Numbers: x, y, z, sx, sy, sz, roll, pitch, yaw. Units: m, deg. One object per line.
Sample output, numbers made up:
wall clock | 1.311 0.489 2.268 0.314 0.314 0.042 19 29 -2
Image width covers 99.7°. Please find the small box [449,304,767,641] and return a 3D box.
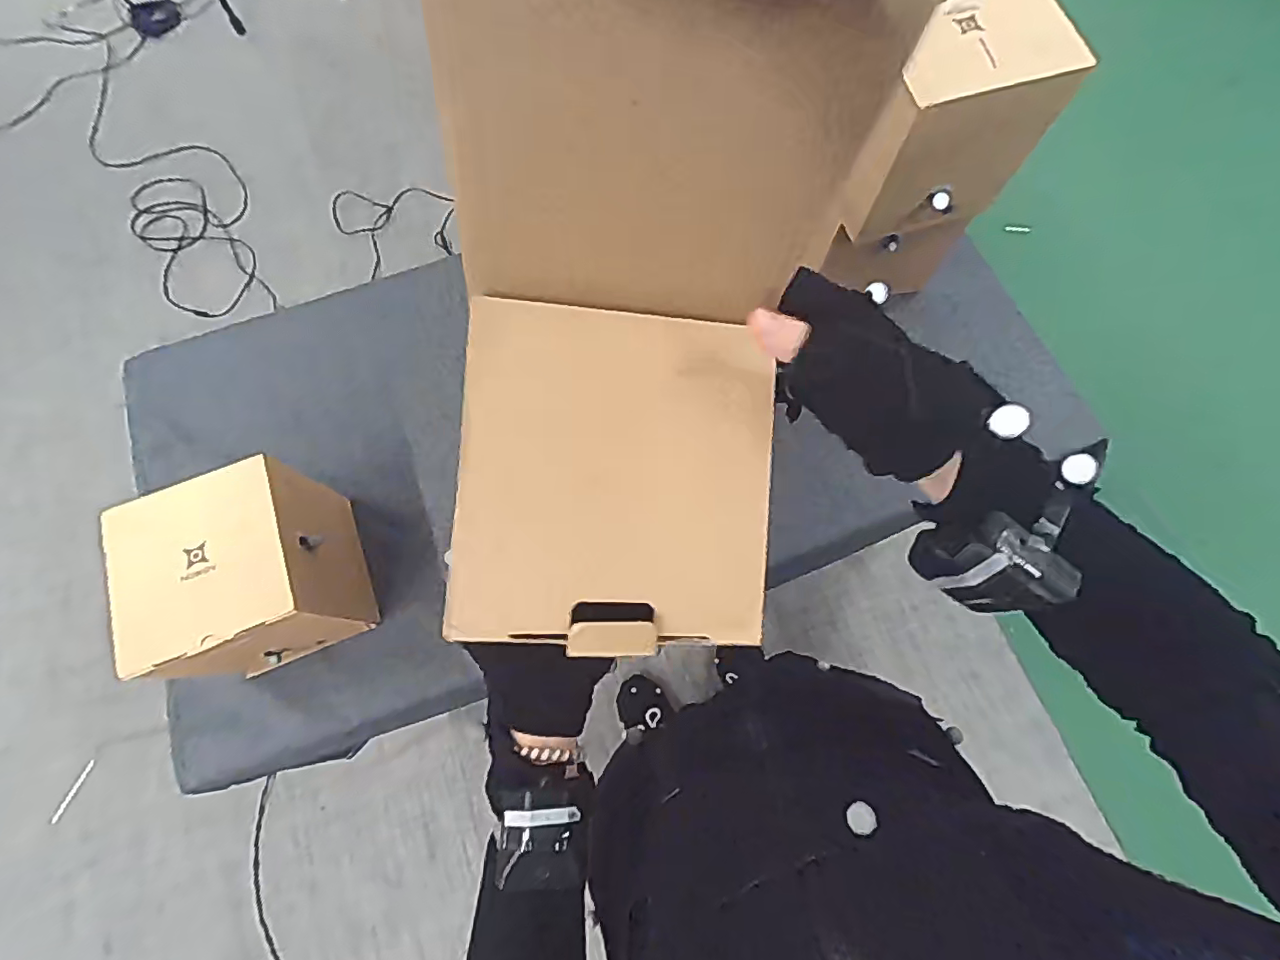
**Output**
small box | -0.024 0.008 0.366 0.168 0.176 0.179 3 80 -10

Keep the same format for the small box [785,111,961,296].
small box | 0.303 -0.368 0.722 0.179 0.176 0.168 -9 73 -1

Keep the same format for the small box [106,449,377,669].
small box | -0.425 0.096 0.600 0.168 0.176 0.179 -22 73 -6

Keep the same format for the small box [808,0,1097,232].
small box | 0.295 -0.397 0.560 0.168 0.176 0.179 -15 74 -2
